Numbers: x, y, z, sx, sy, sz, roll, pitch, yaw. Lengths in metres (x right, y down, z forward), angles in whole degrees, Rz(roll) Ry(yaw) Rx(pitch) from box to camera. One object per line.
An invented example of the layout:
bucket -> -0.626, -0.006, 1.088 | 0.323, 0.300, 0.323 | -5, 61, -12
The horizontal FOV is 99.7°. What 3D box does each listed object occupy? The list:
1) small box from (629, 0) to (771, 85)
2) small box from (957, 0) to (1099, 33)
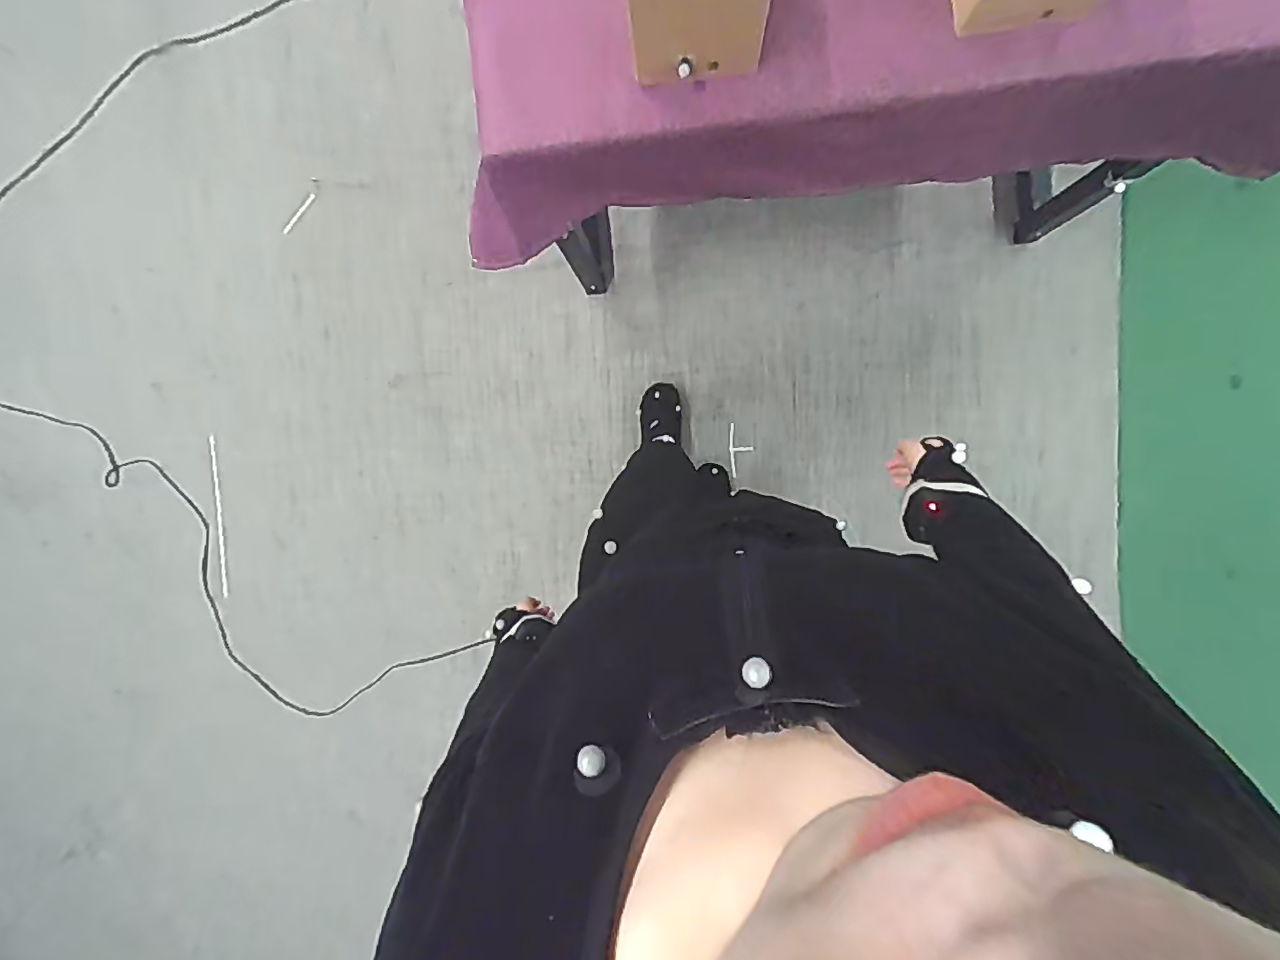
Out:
small box -> 0.067, -0.631, 0.658 | 0.168, 0.176, 0.179 | -4, 93, 6
small box -> 0.483, -0.672, 0.619 | 0.168, 0.176, 0.179 | -5, 92, 6
